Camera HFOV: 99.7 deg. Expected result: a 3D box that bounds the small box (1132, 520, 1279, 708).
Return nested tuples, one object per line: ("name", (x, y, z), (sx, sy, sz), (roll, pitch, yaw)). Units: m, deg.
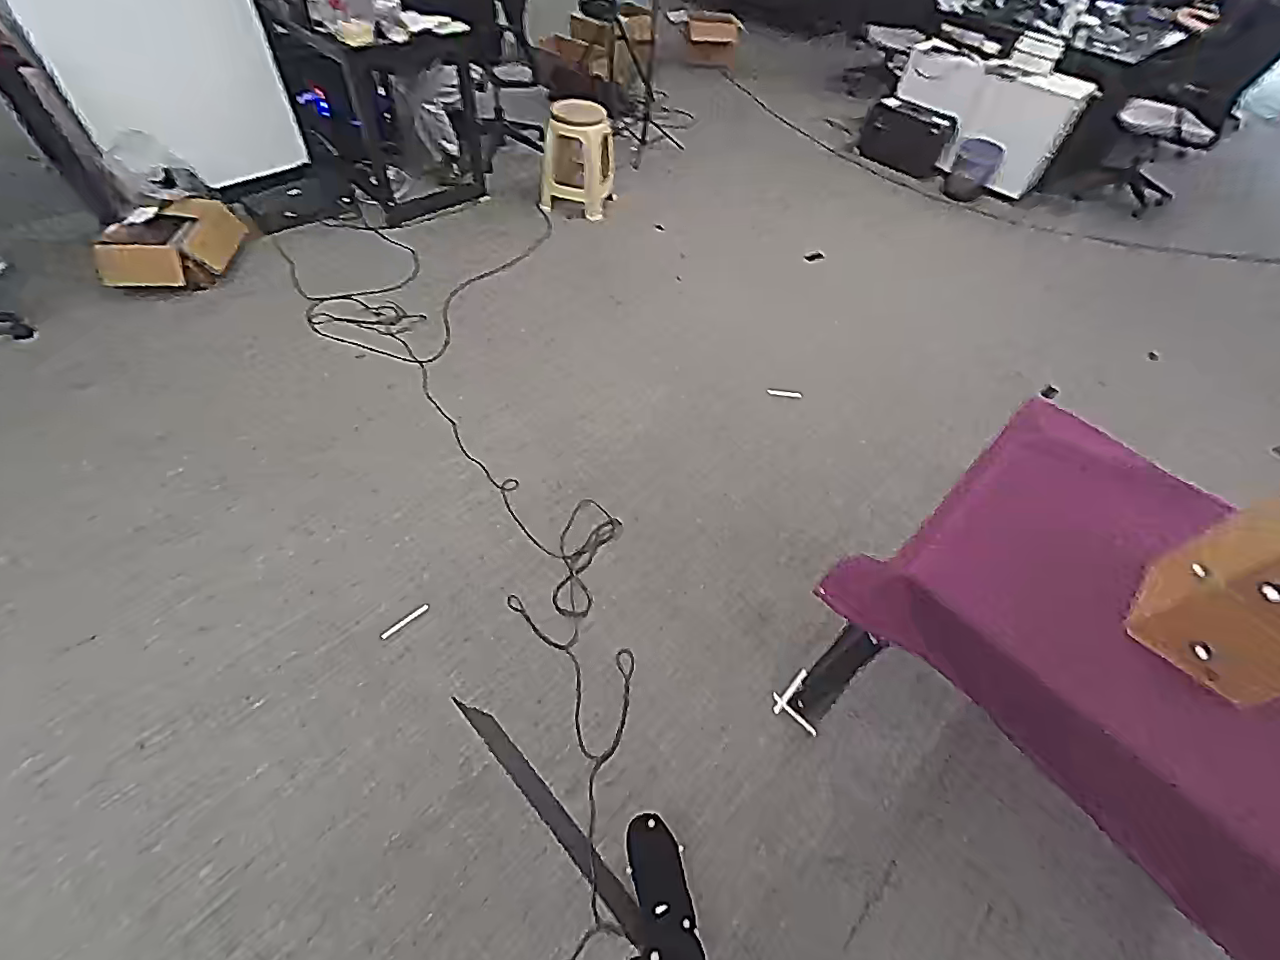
("small box", (0.880, 0.195, 0.789), (0.168, 0.176, 0.179), (40, 59, 22))
